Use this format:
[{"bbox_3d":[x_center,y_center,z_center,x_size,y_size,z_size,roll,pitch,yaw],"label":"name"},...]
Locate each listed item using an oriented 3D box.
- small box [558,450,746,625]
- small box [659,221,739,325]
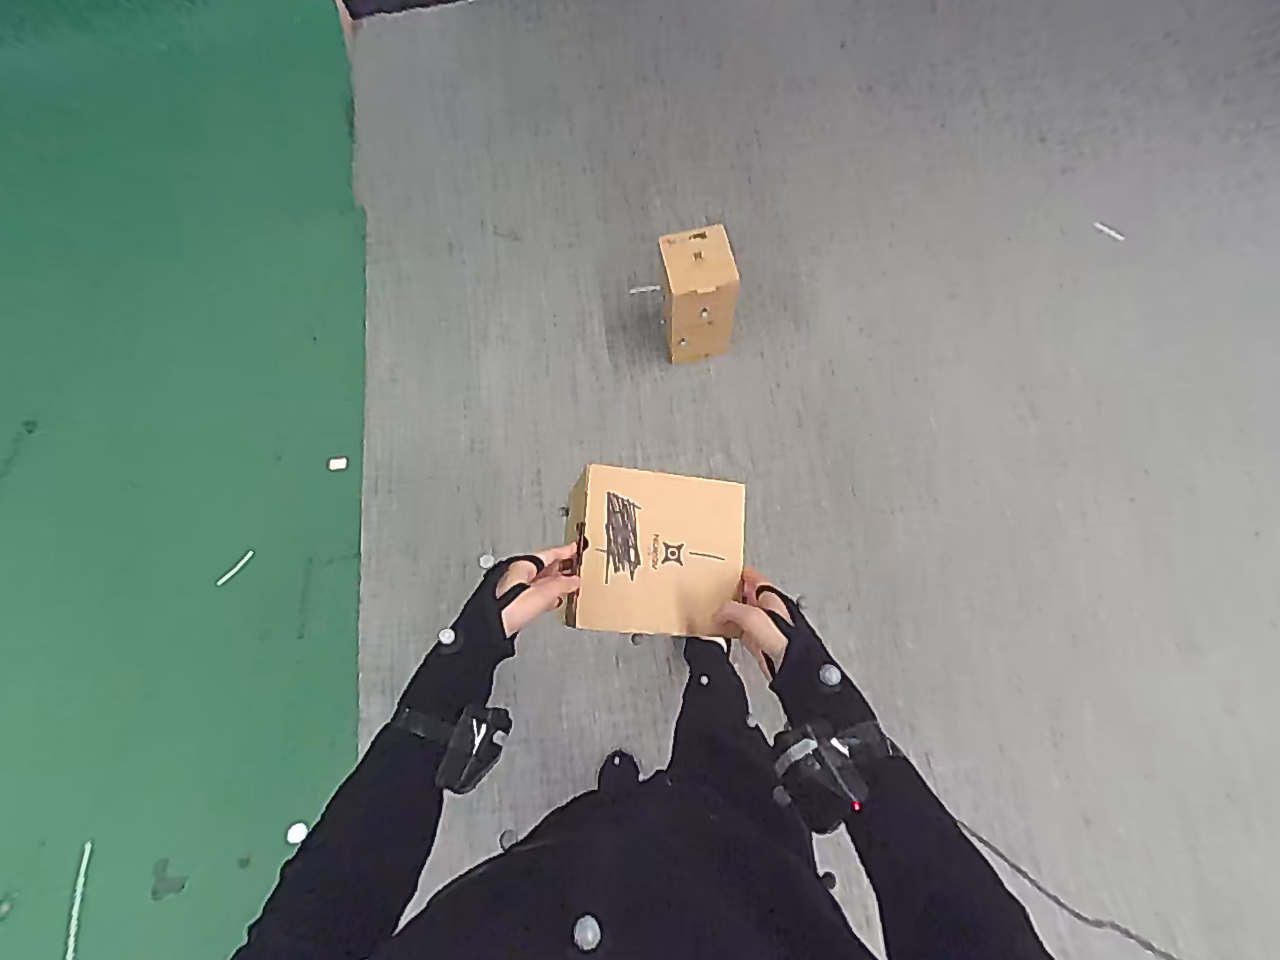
[{"bbox_3d":[0.005,0.075,0.624,0.179,0.176,0.168,7,77,-14],"label":"small box"},{"bbox_3d":[0.144,-0.510,1.361,0.168,0.176,0.179,-11,73,-1],"label":"small box"}]
